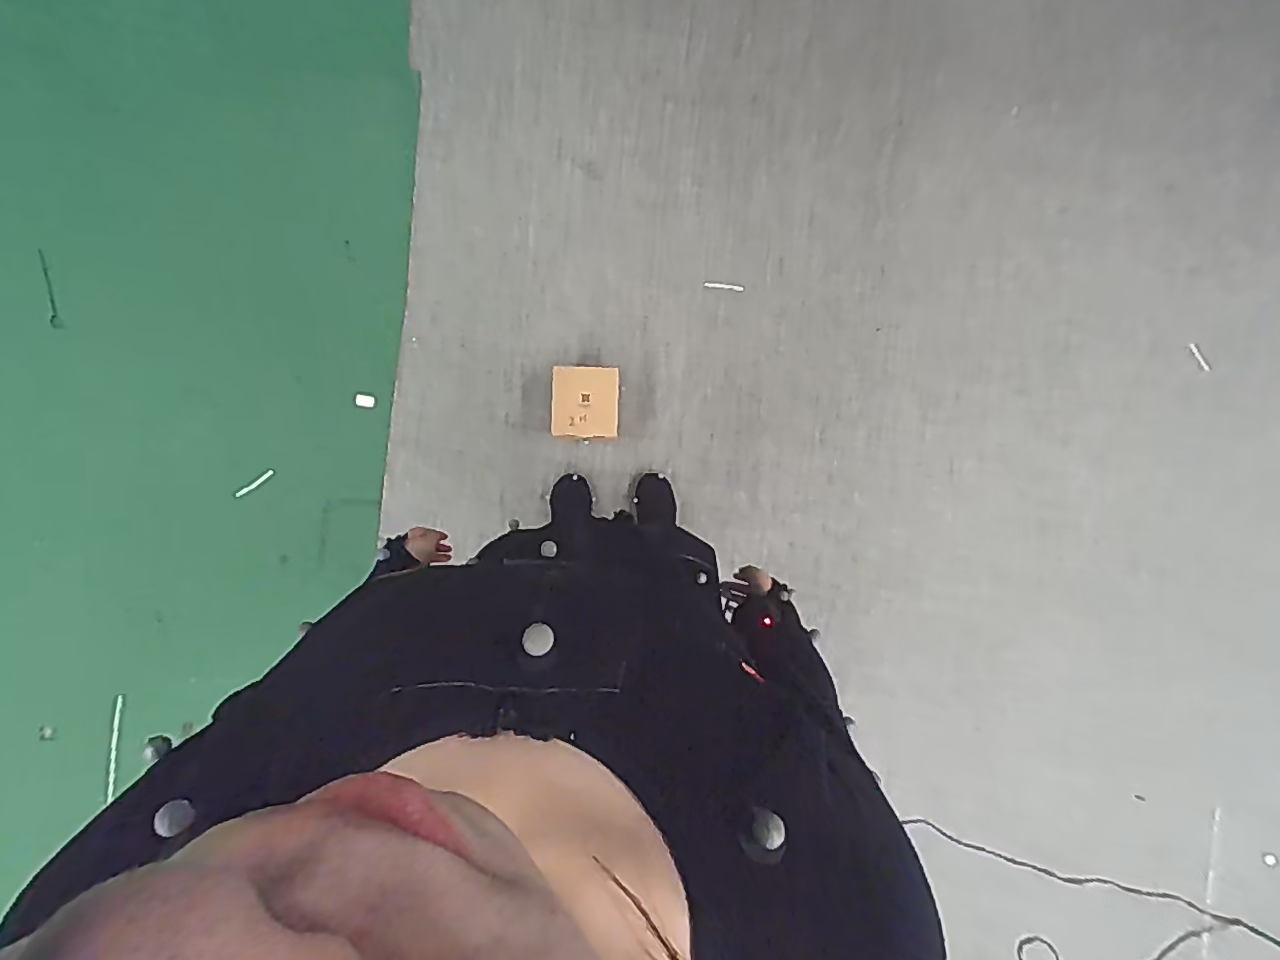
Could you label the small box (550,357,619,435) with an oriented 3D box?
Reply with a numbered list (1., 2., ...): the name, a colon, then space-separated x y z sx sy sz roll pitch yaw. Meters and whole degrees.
1. small box: -0.140 -0.213 1.408 0.168 0.176 0.179 2 91 -2
